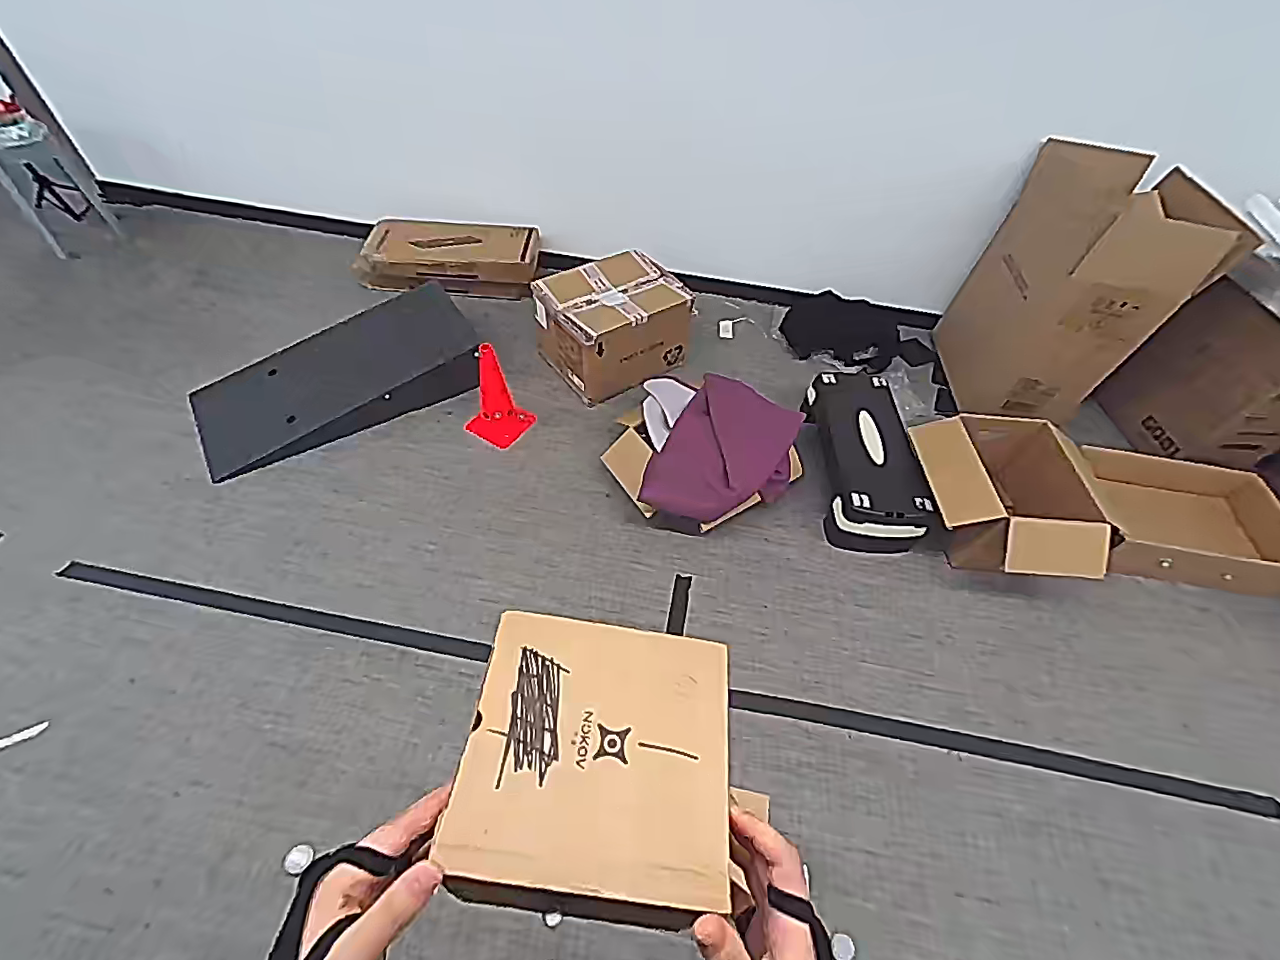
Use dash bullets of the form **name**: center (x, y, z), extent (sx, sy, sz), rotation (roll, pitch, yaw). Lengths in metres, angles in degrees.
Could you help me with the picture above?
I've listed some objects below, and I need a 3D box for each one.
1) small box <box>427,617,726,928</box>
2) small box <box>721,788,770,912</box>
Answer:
- **small box**: center (-0.038, 0.229, 0.418), extent (0.179, 0.176, 0.168), rotation (9, 47, -2)
- **small box**: center (0.145, 0.705, 1.042), extent (0.168, 0.176, 0.179), rotation (11, 52, 5)
